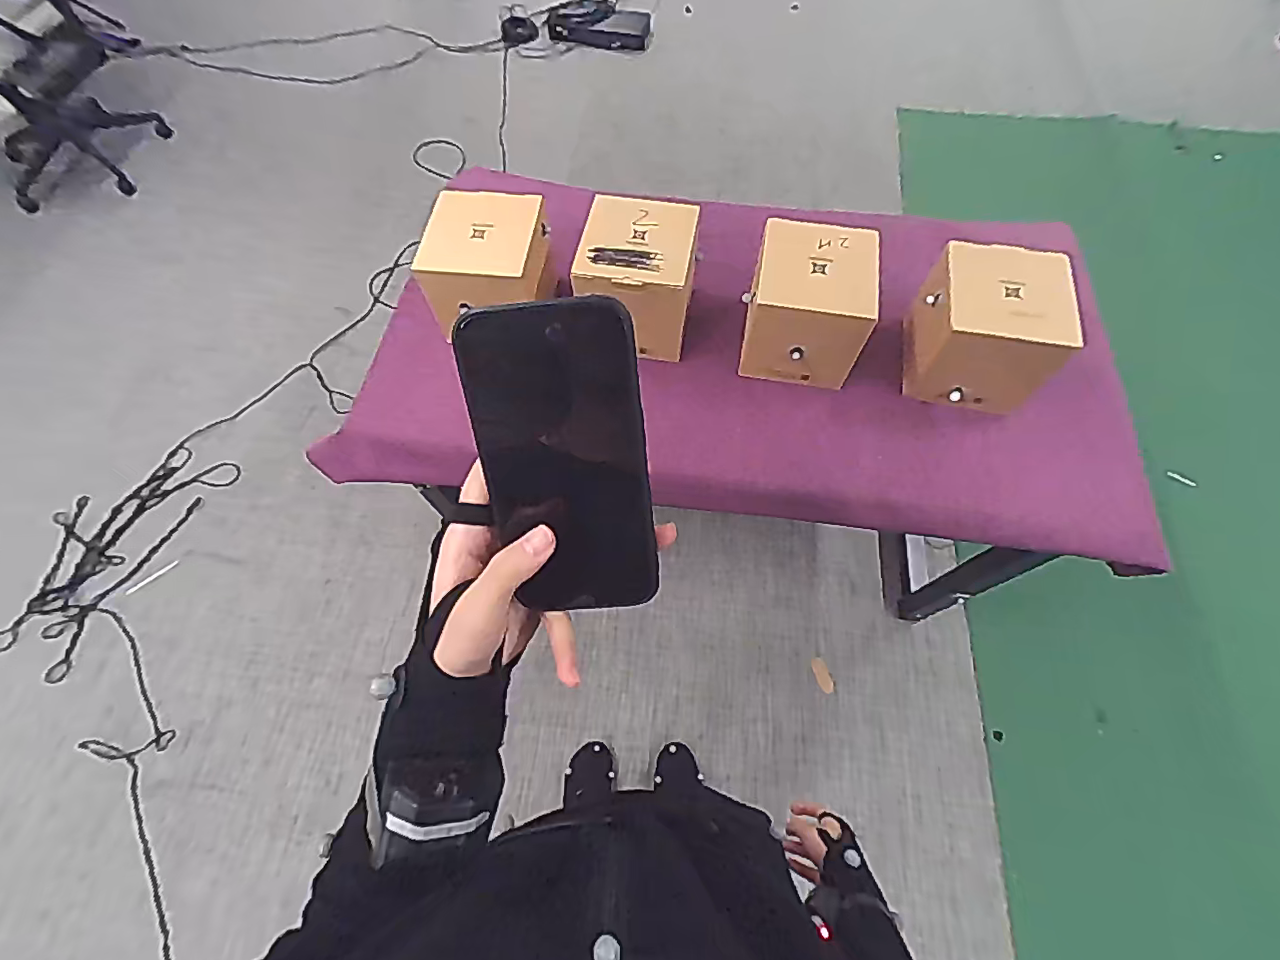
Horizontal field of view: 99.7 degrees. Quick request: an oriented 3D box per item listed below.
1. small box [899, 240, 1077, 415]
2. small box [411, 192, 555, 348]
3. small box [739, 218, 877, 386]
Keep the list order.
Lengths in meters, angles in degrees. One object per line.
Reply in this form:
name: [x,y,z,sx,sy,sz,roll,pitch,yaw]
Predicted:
small box: [0.509,-0.226,0.819,0.168,0.176,0.179,11,65,7]
small box: [-0.241,-0.335,0.882,0.168,0.176,0.179,4,63,3]
small box: [0.253,-0.269,0.842,0.168,0.176,0.179,10,64,5]
